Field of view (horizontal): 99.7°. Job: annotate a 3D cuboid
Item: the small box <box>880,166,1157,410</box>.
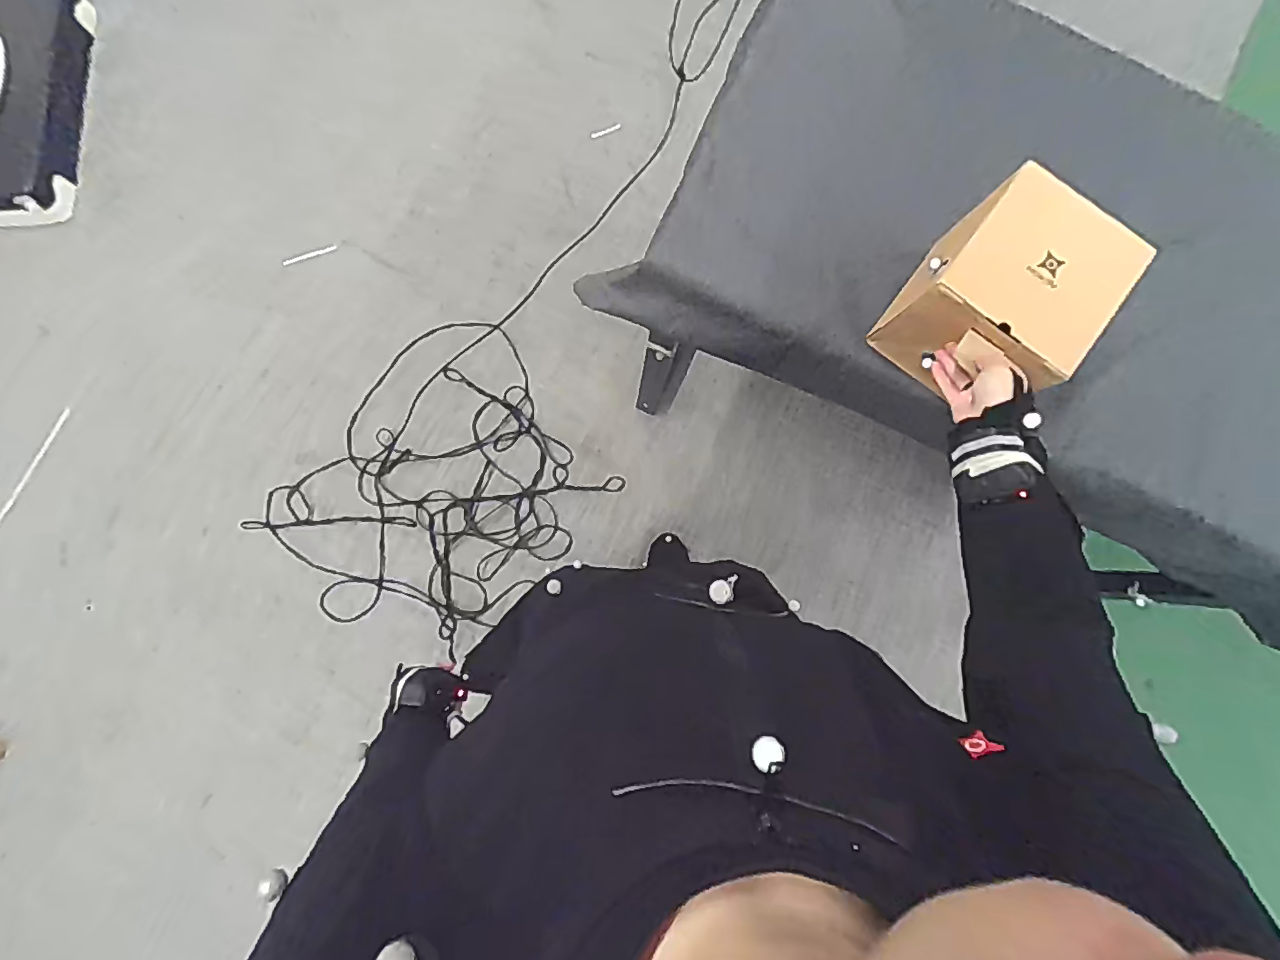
[{"bbox_3d":[0.423,-0.209,0.638,0.168,0.176,0.179,38,85,1],"label":"small box"}]
